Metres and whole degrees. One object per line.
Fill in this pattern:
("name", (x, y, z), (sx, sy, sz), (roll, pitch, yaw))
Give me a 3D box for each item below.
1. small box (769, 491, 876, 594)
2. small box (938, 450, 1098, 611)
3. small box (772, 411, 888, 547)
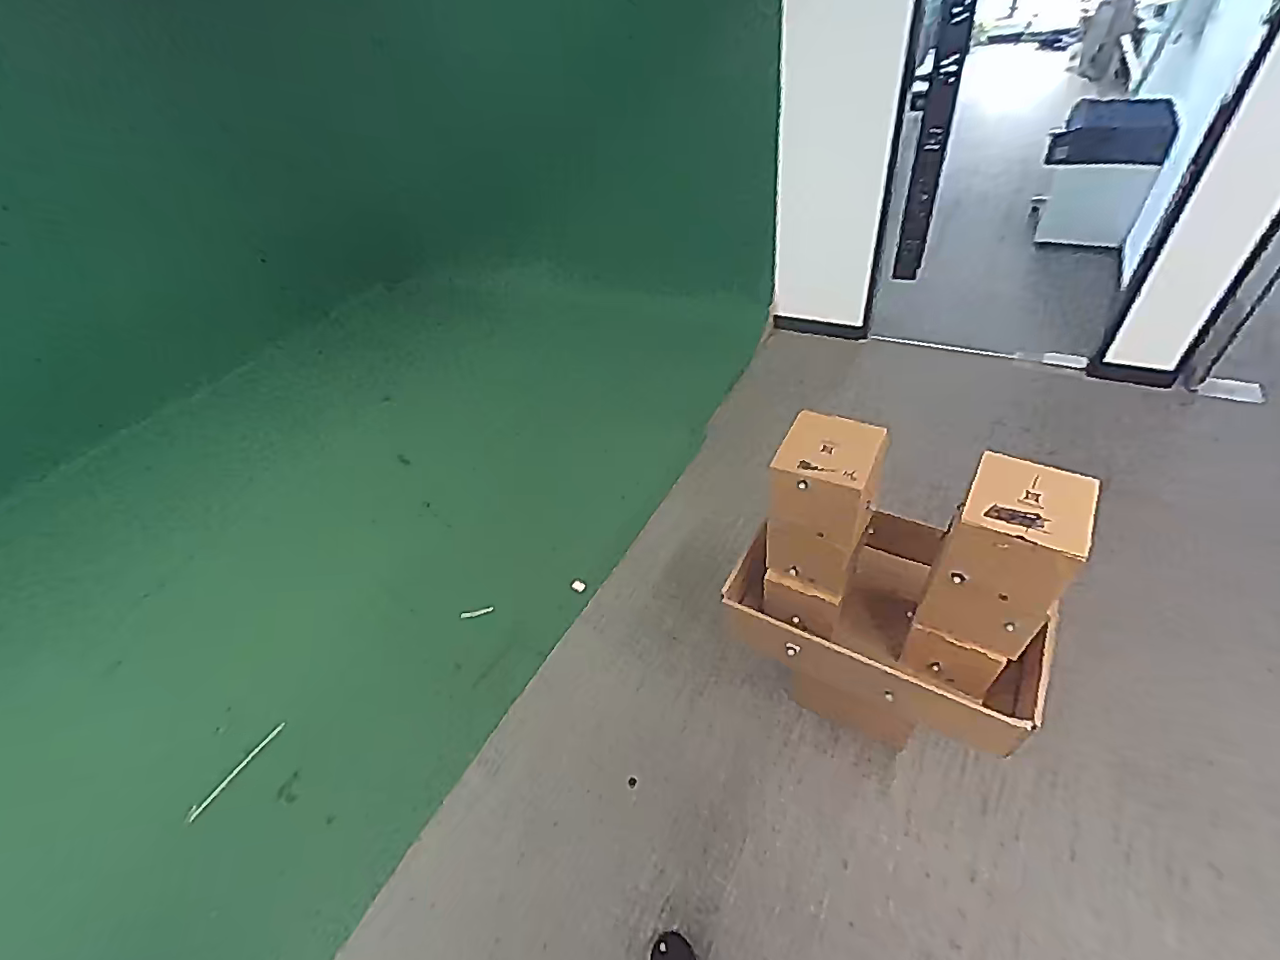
("small box", (0.385, 0.109, 1.162), (0.168, 0.176, 0.179), (21, 53, 30))
("small box", (0.619, 0.085, 0.902), (0.168, 0.176, 0.179), (22, 53, 28))
("small box", (0.360, -0.004, 1.046), (0.168, 0.176, 0.179), (17, 50, 28))
